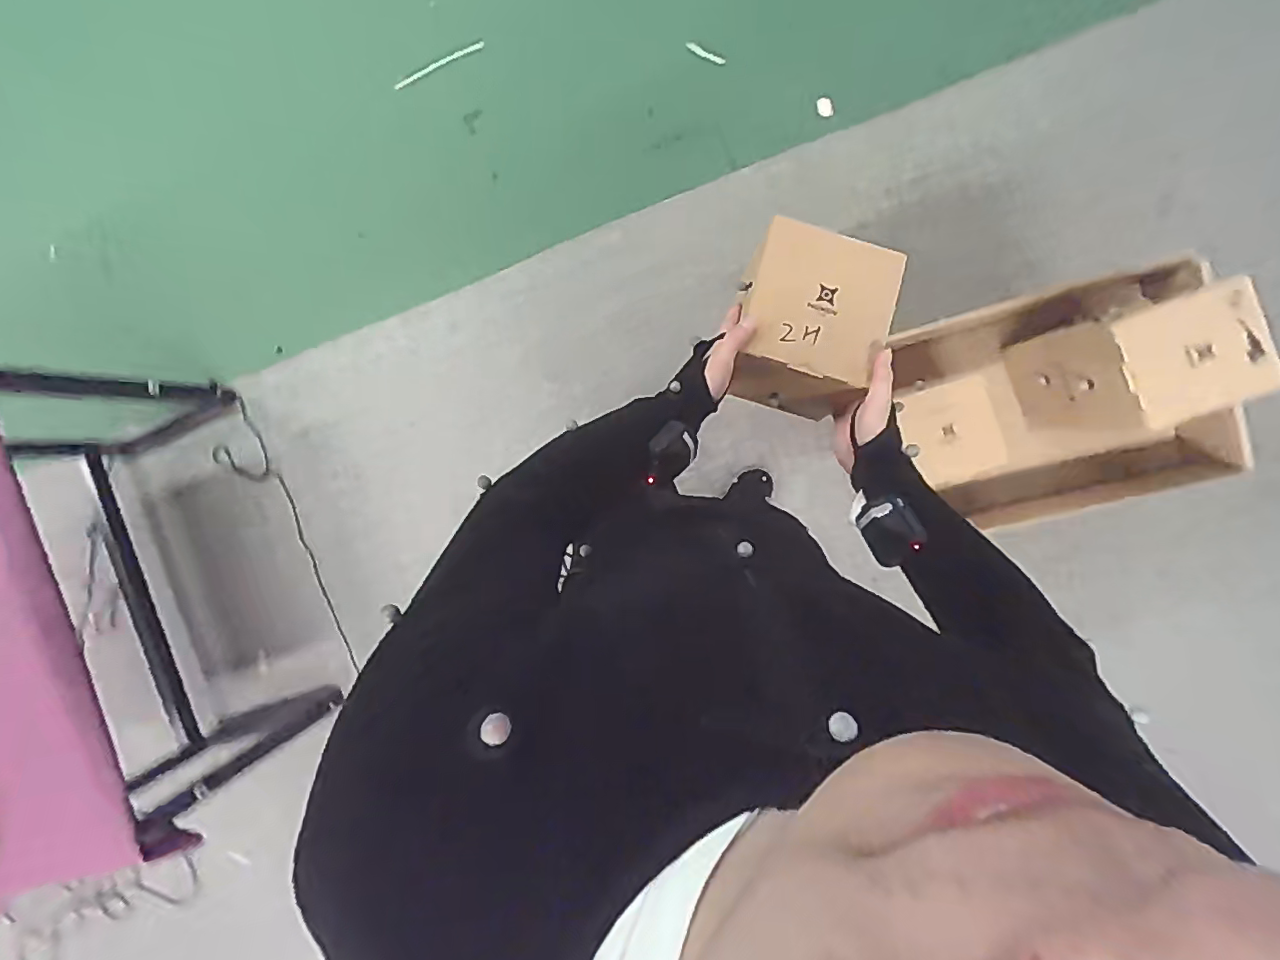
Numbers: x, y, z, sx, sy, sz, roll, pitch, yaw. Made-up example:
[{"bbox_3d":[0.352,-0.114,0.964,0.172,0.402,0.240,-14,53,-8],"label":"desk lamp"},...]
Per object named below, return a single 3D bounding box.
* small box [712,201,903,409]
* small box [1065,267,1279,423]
[{"bbox_3d":[0.201,-0.210,0.695,0.168,0.176,0.179,16,84,-1],"label":"small box"},{"bbox_3d":[0.789,-0.189,0.816,0.179,0.176,0.168,-20,92,13],"label":"small box"}]
